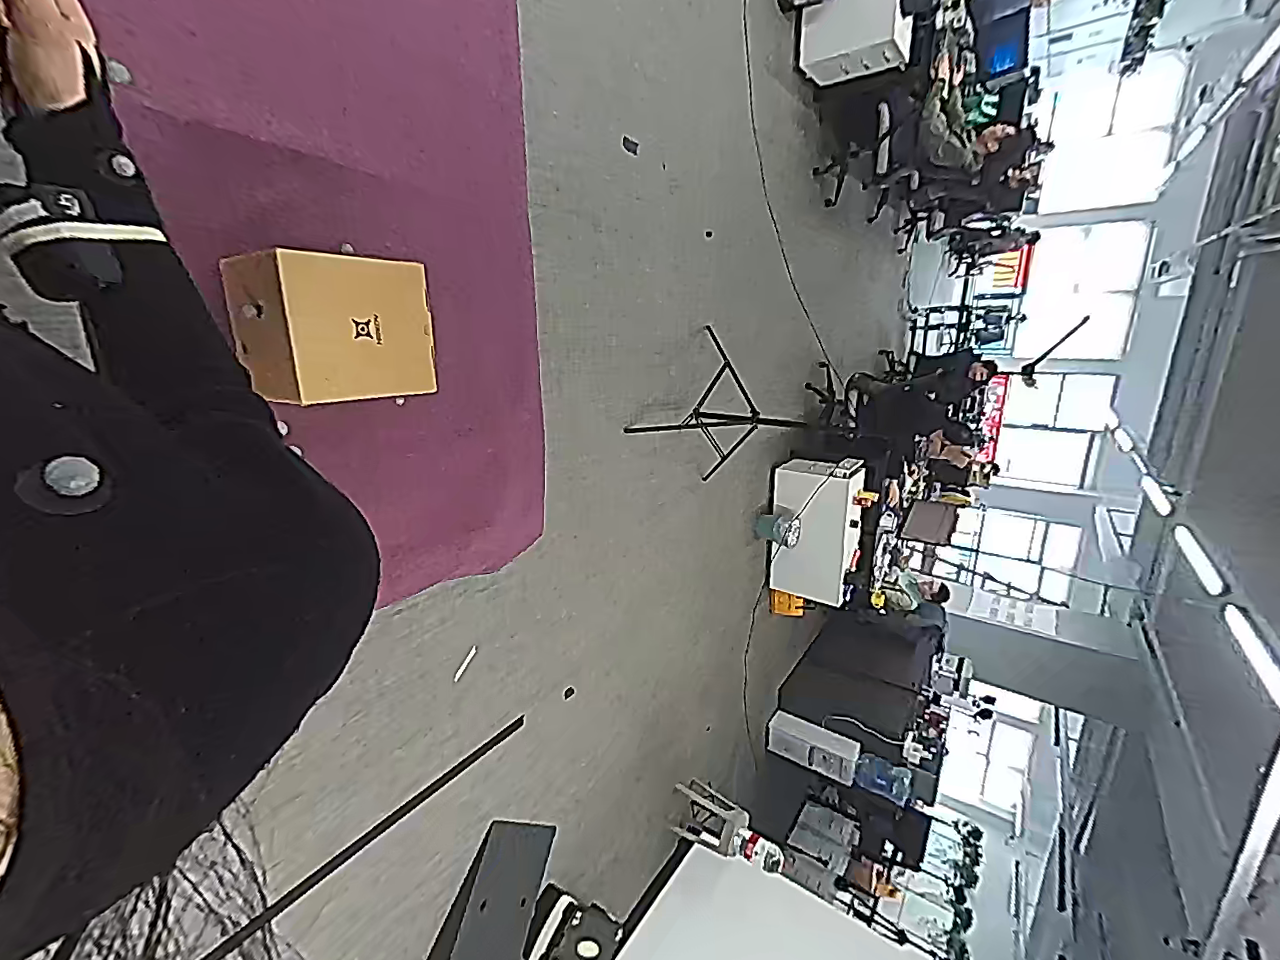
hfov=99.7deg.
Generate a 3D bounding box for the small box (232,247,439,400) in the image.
[{"bbox_3d":[-0.392,-0.194,0.697,0.179,0.176,0.168,-21,115,-52],"label":"small box"}]

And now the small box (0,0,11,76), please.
[{"bbox_3d":[-0.422,-0.336,0.256,0.168,0.176,0.179,3,96,-52],"label":"small box"}]
